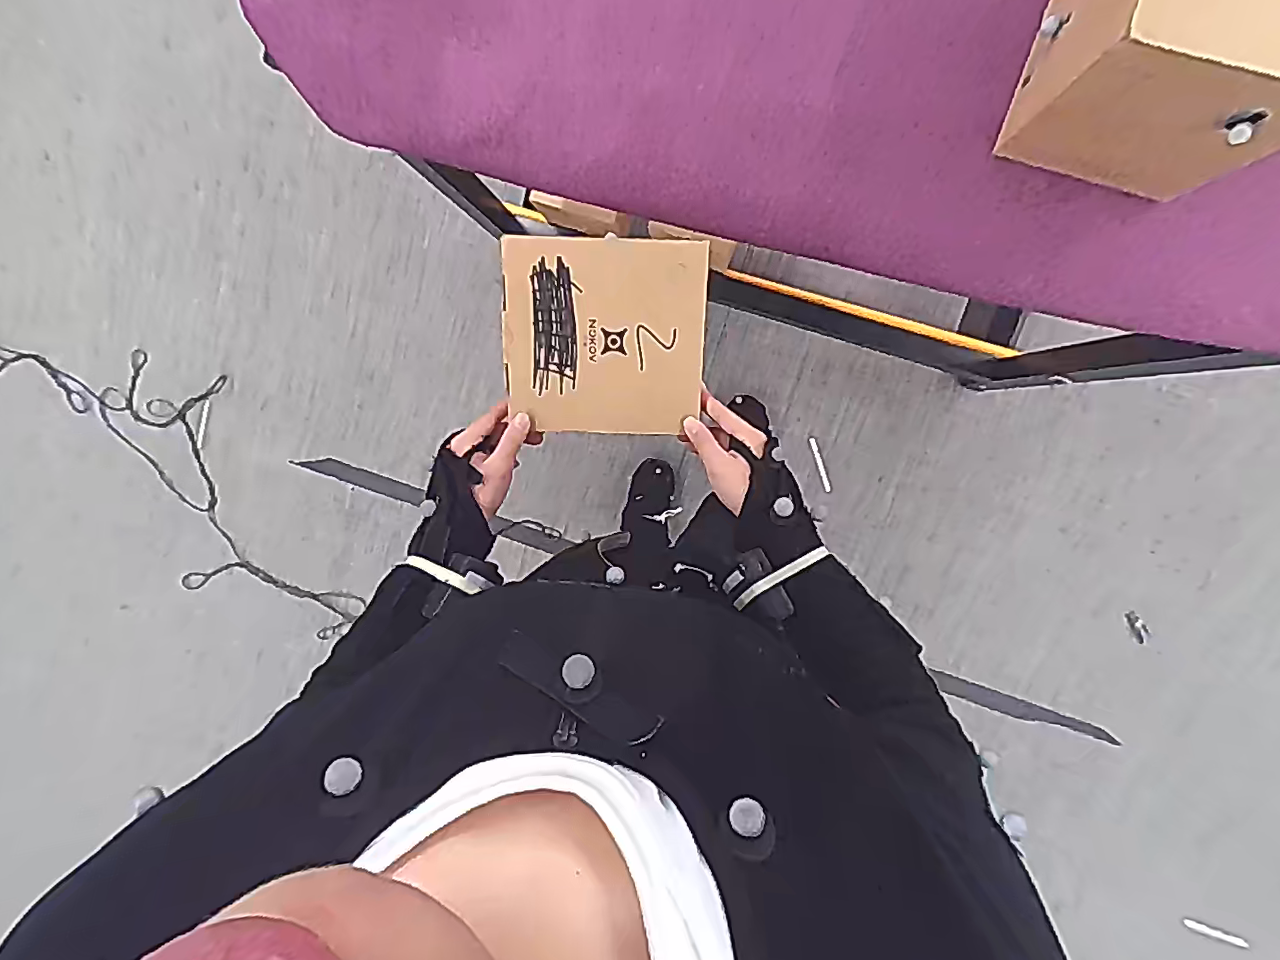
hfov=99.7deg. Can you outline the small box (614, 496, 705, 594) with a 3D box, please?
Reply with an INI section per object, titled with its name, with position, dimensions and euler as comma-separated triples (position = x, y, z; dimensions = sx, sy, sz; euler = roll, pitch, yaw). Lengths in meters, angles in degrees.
[small box]
position = 0.042, 0.148, 1.276
dimensions = 0.179, 0.176, 0.168
euler = 18, 96, 1
